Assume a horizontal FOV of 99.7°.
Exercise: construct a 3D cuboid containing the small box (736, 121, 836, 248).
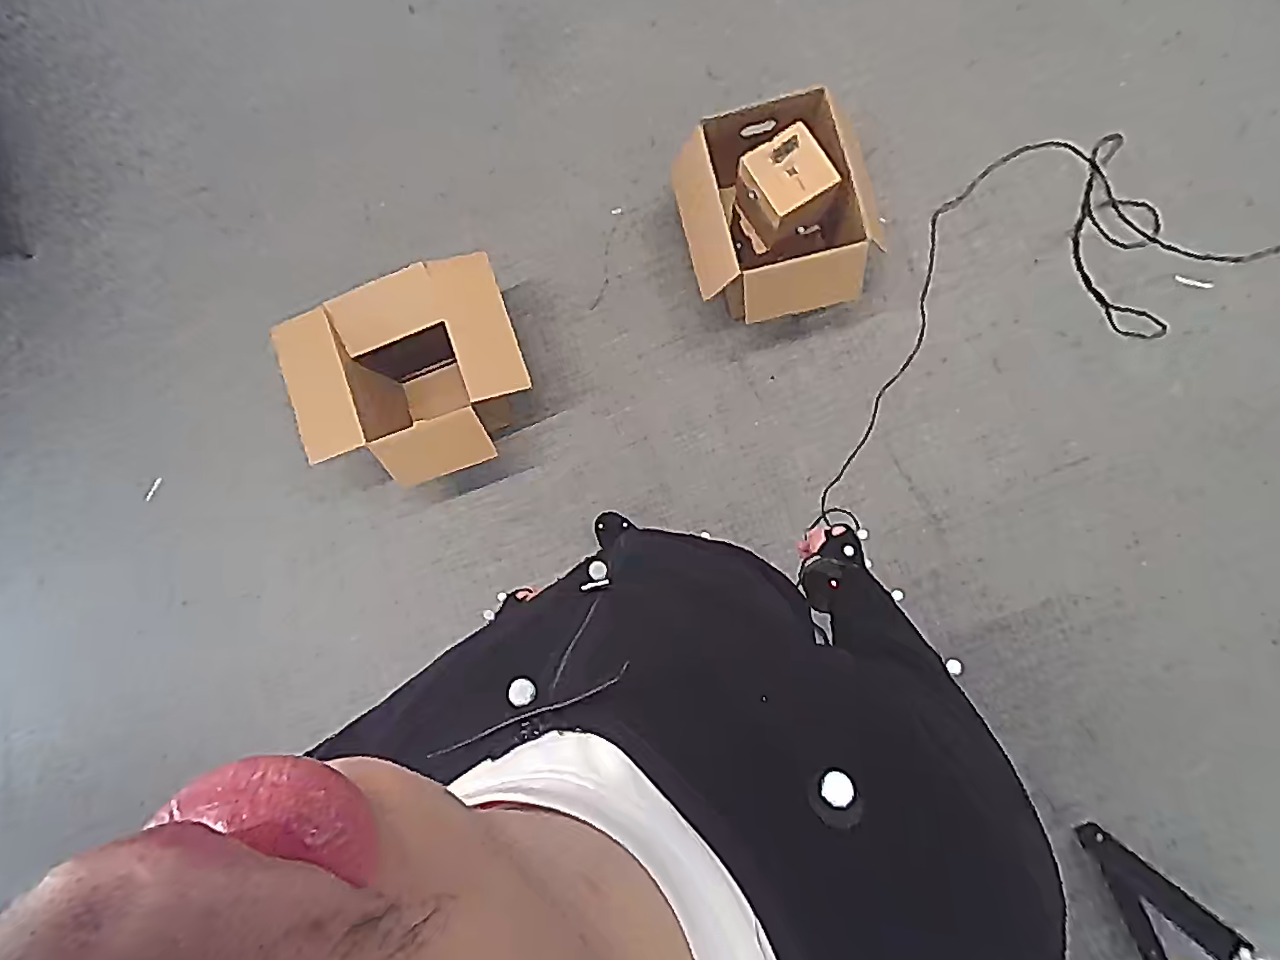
[{"bbox_3d":[0.344,-0.709,1.318,0.168,0.176,0.179,-28,83,4],"label":"small box"}]
